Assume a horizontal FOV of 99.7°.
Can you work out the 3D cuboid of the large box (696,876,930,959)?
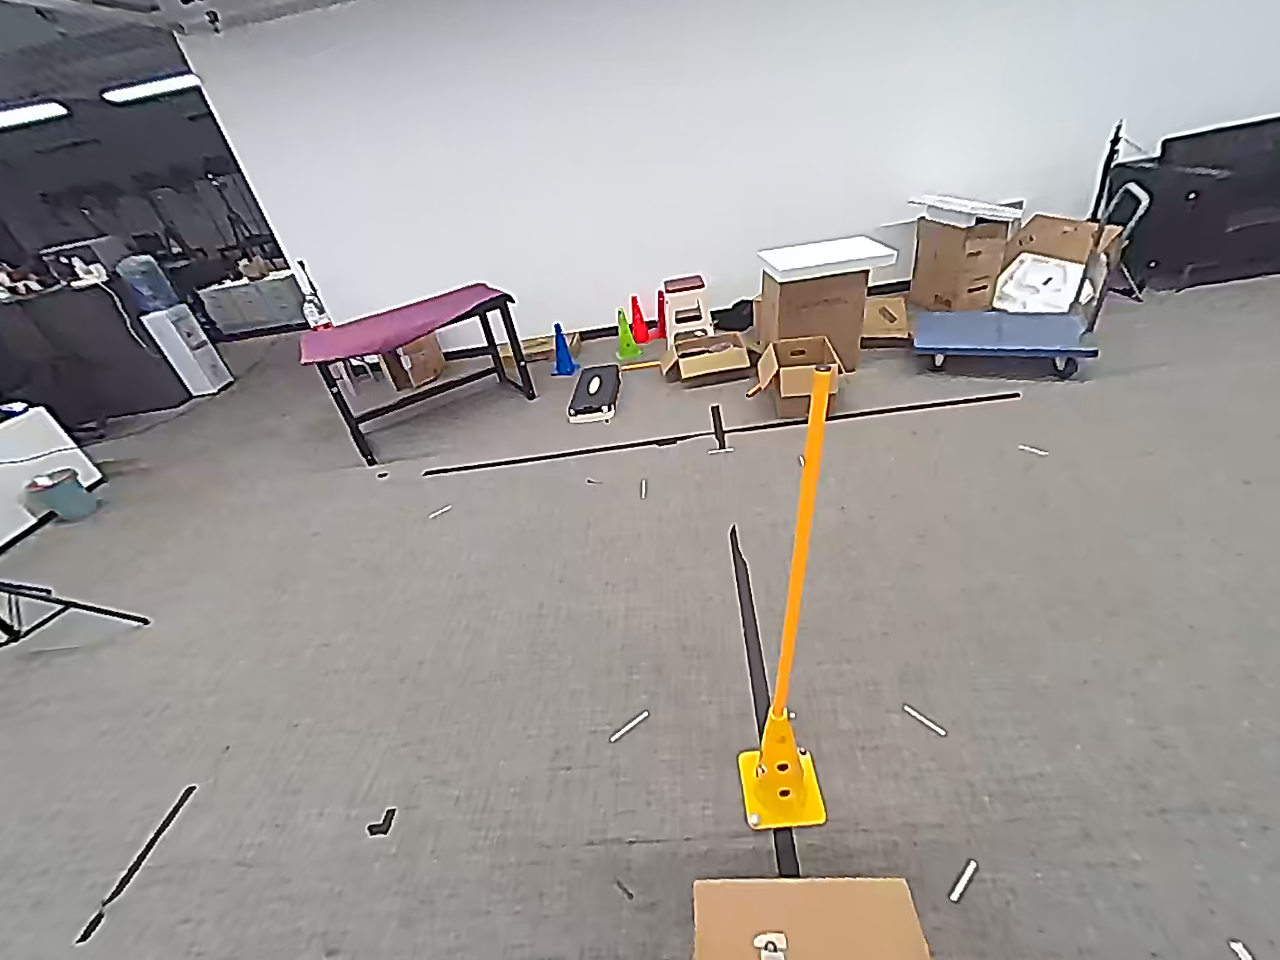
[{"bbox_3d":[0.328,0.983,1.000,0.408,0.320,0.320,-7,32,8],"label":"large box"}]
